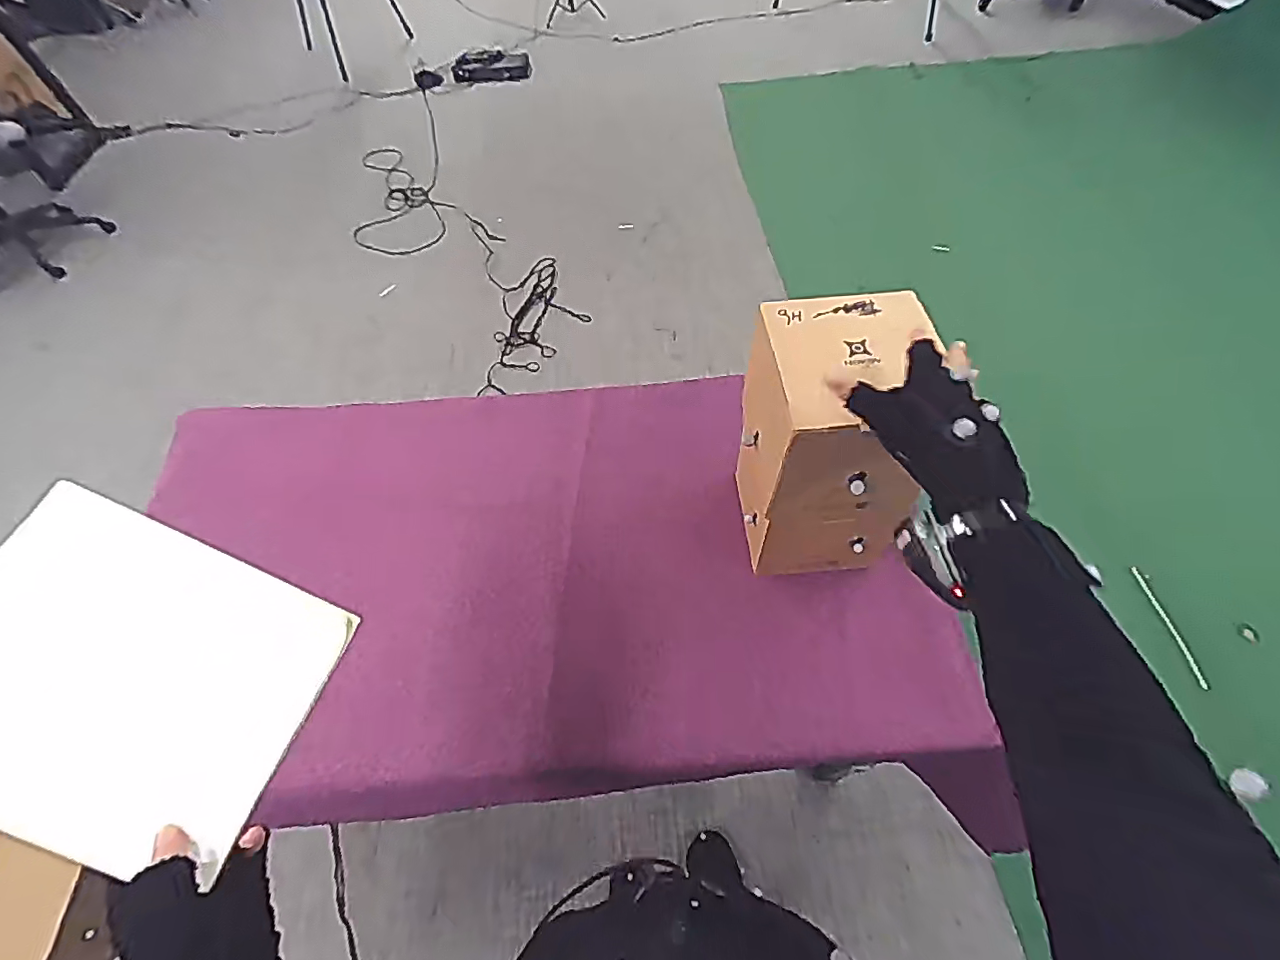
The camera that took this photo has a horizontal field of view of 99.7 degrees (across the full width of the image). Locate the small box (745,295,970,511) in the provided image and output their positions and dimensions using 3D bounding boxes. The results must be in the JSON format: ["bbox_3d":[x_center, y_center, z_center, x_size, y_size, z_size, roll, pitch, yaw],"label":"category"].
[{"bbox_3d":[0.216,-0.075,0.595,0.168,0.176,0.179,-4,58,0],"label":"small box"}]

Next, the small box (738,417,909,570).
[{"bbox_3d":[0.231,0.014,0.732,0.168,0.176,0.179,-4,56,1],"label":"small box"}]
